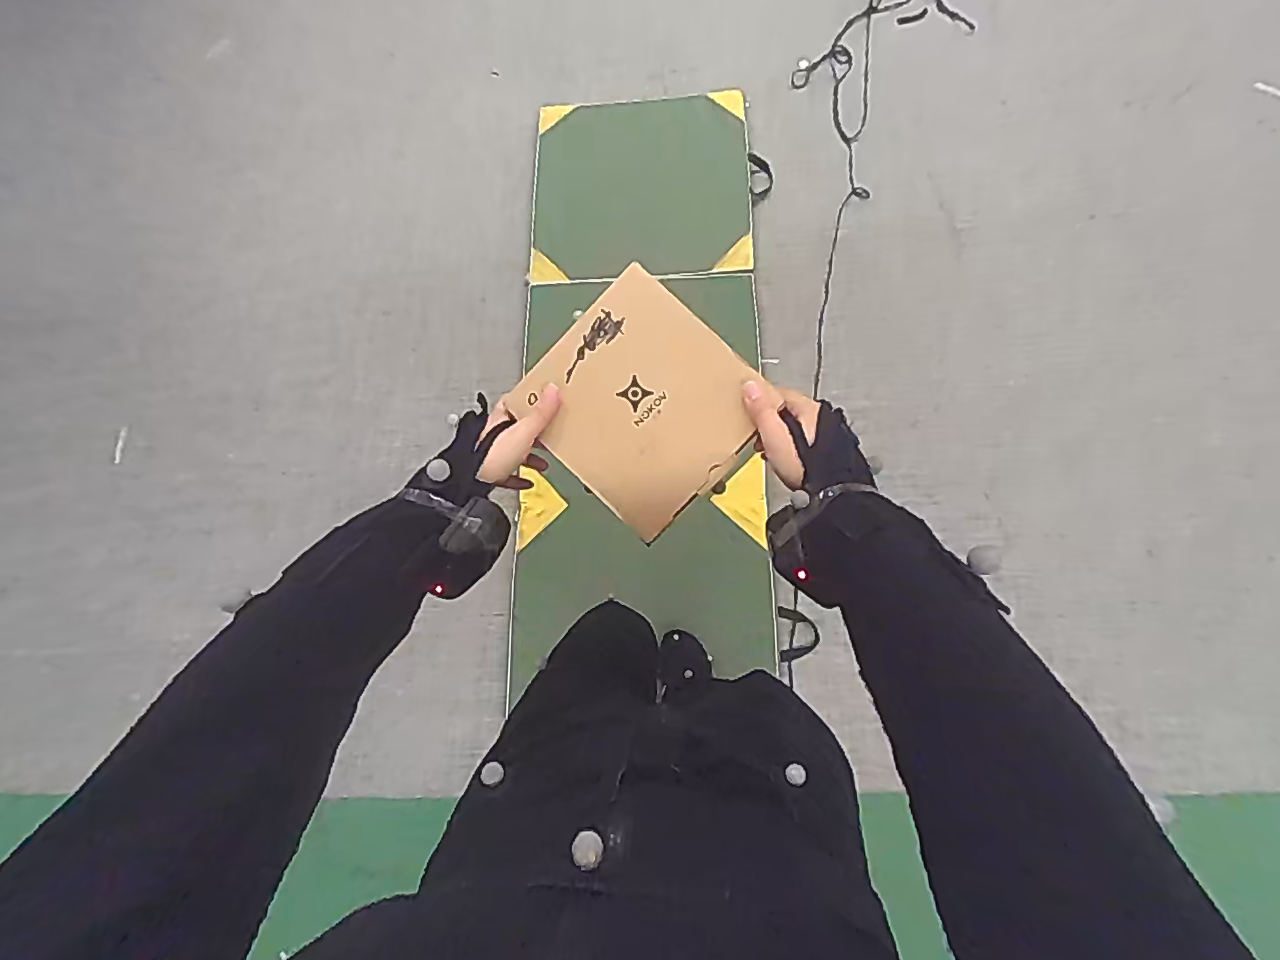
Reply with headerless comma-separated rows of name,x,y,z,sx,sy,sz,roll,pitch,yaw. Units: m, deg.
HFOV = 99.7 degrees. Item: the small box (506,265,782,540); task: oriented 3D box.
small box,0.007,-0.065,0.531,0.179,0.176,0.168,44,91,4
